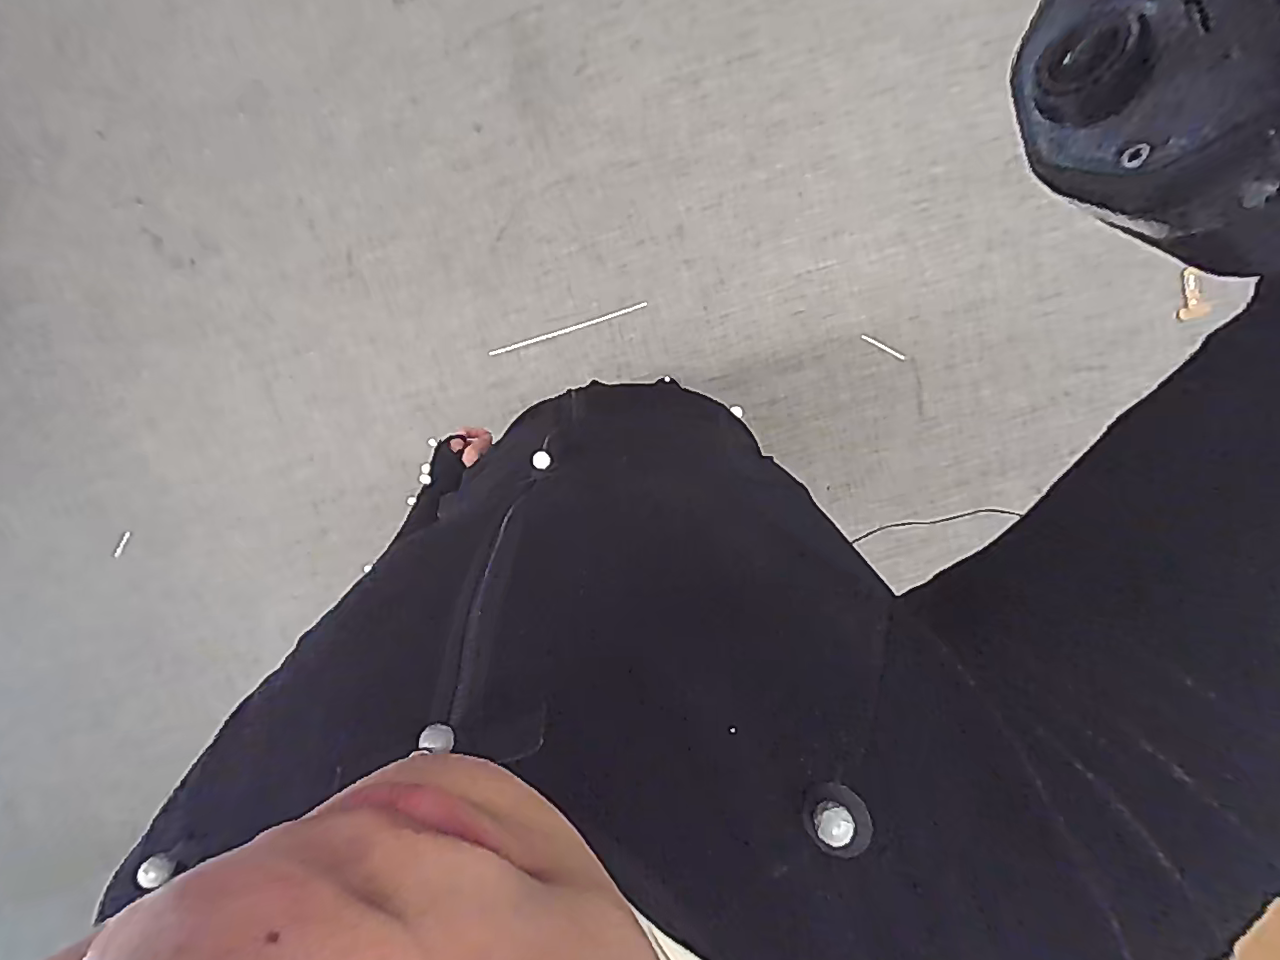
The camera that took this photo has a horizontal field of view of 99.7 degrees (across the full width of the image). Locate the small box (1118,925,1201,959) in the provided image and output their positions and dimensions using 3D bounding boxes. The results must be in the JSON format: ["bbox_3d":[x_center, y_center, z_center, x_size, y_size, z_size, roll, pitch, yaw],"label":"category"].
[{"bbox_3d":[1.012,0.940,0.954,0.179,0.176,0.168,-19,98,4],"label":"small box"}]
